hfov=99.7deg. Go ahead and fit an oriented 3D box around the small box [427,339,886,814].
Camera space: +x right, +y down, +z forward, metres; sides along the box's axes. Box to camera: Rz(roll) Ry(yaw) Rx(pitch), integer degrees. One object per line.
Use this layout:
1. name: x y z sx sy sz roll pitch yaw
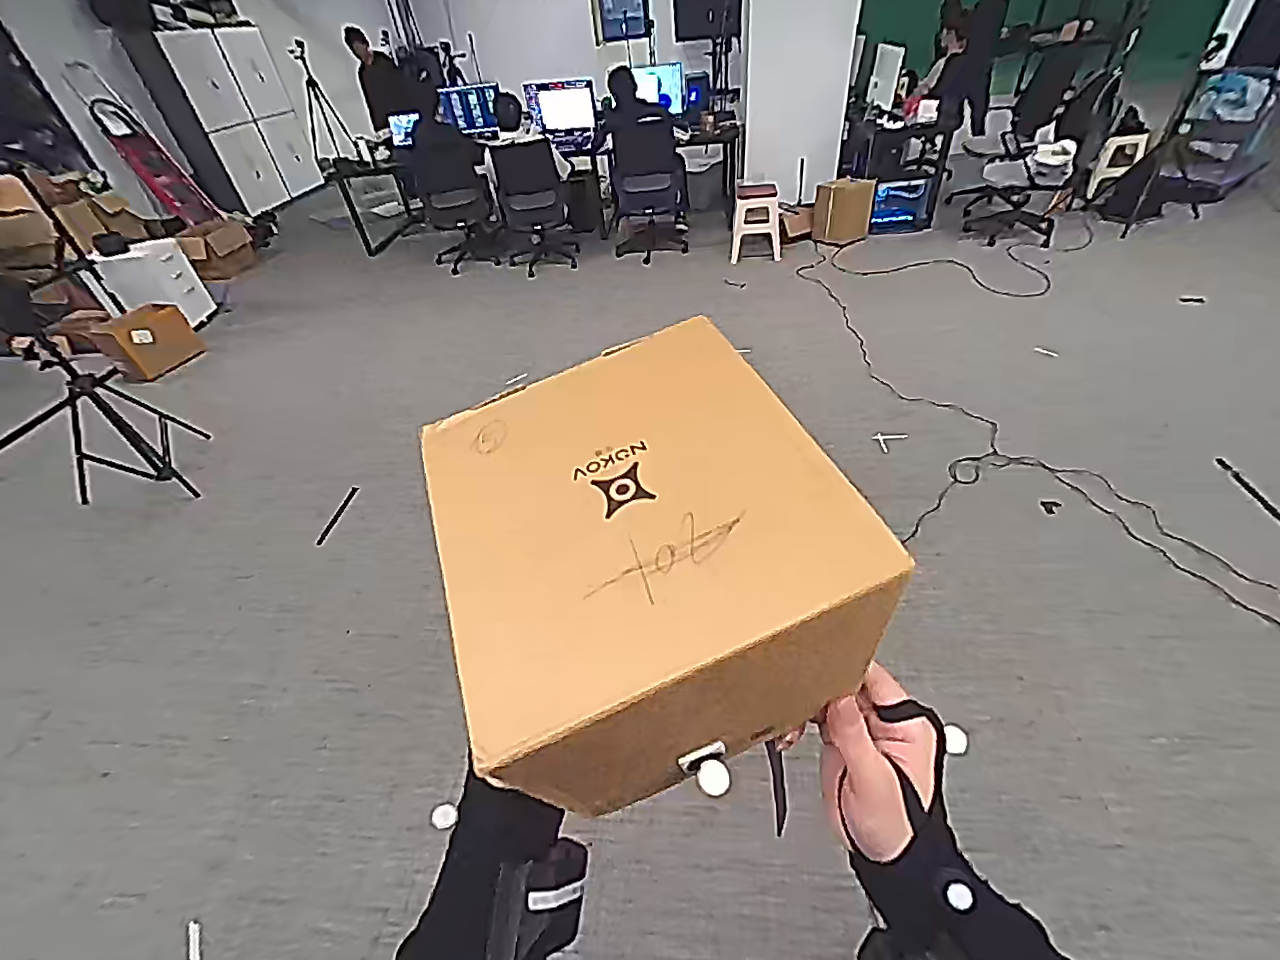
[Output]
1. small box: 0.003 0.058 0.310 0.168 0.176 0.179 -25 52 -5
